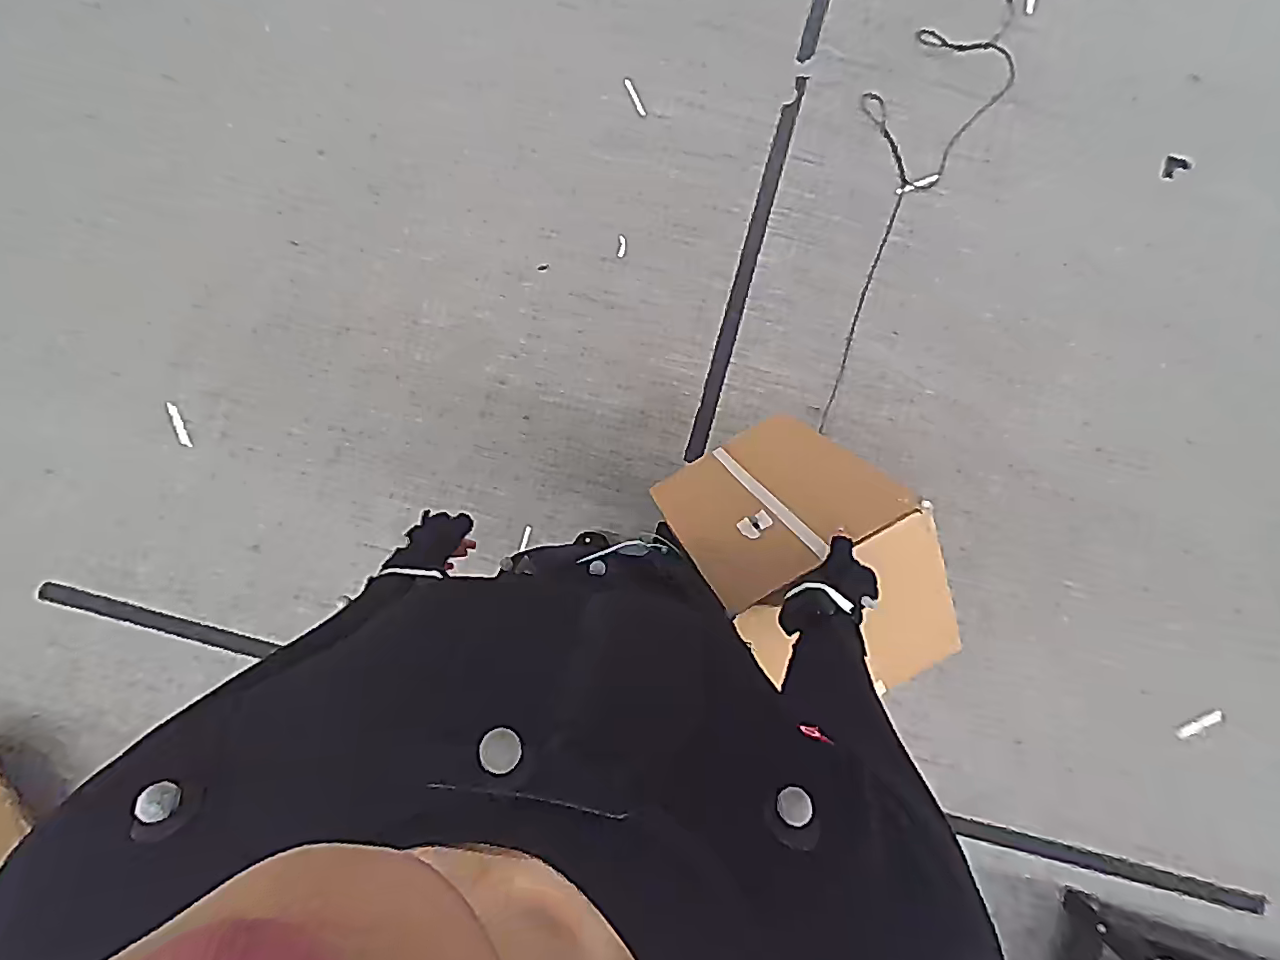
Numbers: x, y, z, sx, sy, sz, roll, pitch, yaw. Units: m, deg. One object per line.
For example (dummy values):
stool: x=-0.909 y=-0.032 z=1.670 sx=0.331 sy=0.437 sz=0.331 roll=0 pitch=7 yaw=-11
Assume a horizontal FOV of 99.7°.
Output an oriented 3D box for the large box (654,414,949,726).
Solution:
large box: x=0.269 y=0.137 z=0.979 sx=0.320 sy=0.408 sz=0.320 roll=-29 pitch=120 yaw=-1
